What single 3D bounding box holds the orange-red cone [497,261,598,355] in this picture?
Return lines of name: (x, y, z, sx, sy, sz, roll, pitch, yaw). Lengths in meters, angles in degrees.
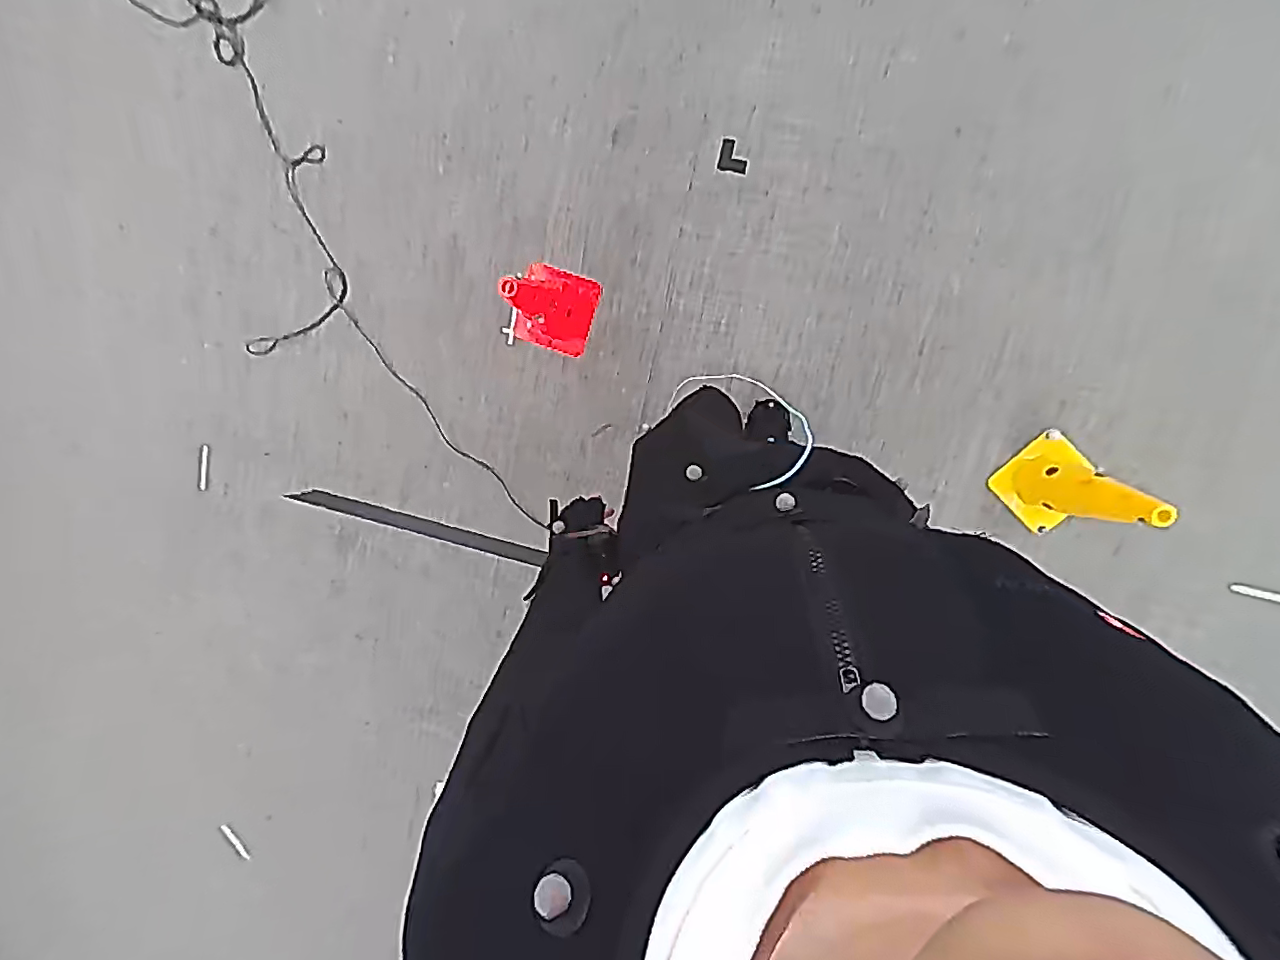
orange-red cone: (-0.242, -0.412, 1.236, 0.199, 0.360, 0.198, 21, 103, 2)
